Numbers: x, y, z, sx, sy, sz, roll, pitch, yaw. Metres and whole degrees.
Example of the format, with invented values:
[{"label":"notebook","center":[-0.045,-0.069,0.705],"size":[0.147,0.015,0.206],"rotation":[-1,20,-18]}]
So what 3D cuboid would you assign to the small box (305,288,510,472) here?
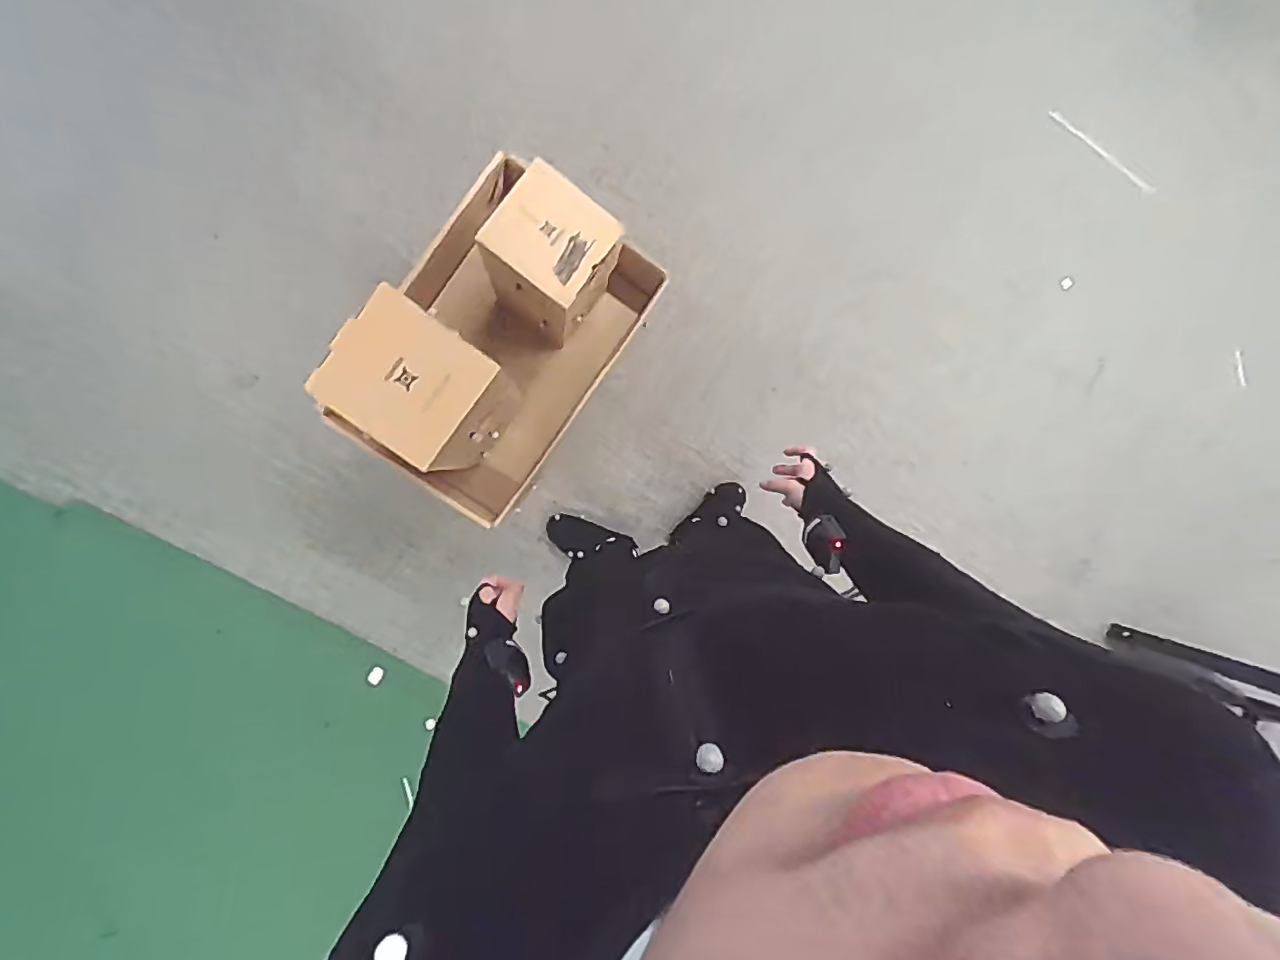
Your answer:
[{"label":"small box","center":[-0.302,-0.125,0.746],"size":[0.179,0.176,0.168],"rotation":[37,88,-7]}]

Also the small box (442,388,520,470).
[{"label":"small box","center":[-0.324,-0.130,0.908],"size":[0.179,0.176,0.168],"rotation":[38,88,-7]}]

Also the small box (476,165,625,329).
[{"label":"small box","center":[-0.148,-0.380,0.924],"size":[0.179,0.176,0.168],"rotation":[36,86,-7]}]
